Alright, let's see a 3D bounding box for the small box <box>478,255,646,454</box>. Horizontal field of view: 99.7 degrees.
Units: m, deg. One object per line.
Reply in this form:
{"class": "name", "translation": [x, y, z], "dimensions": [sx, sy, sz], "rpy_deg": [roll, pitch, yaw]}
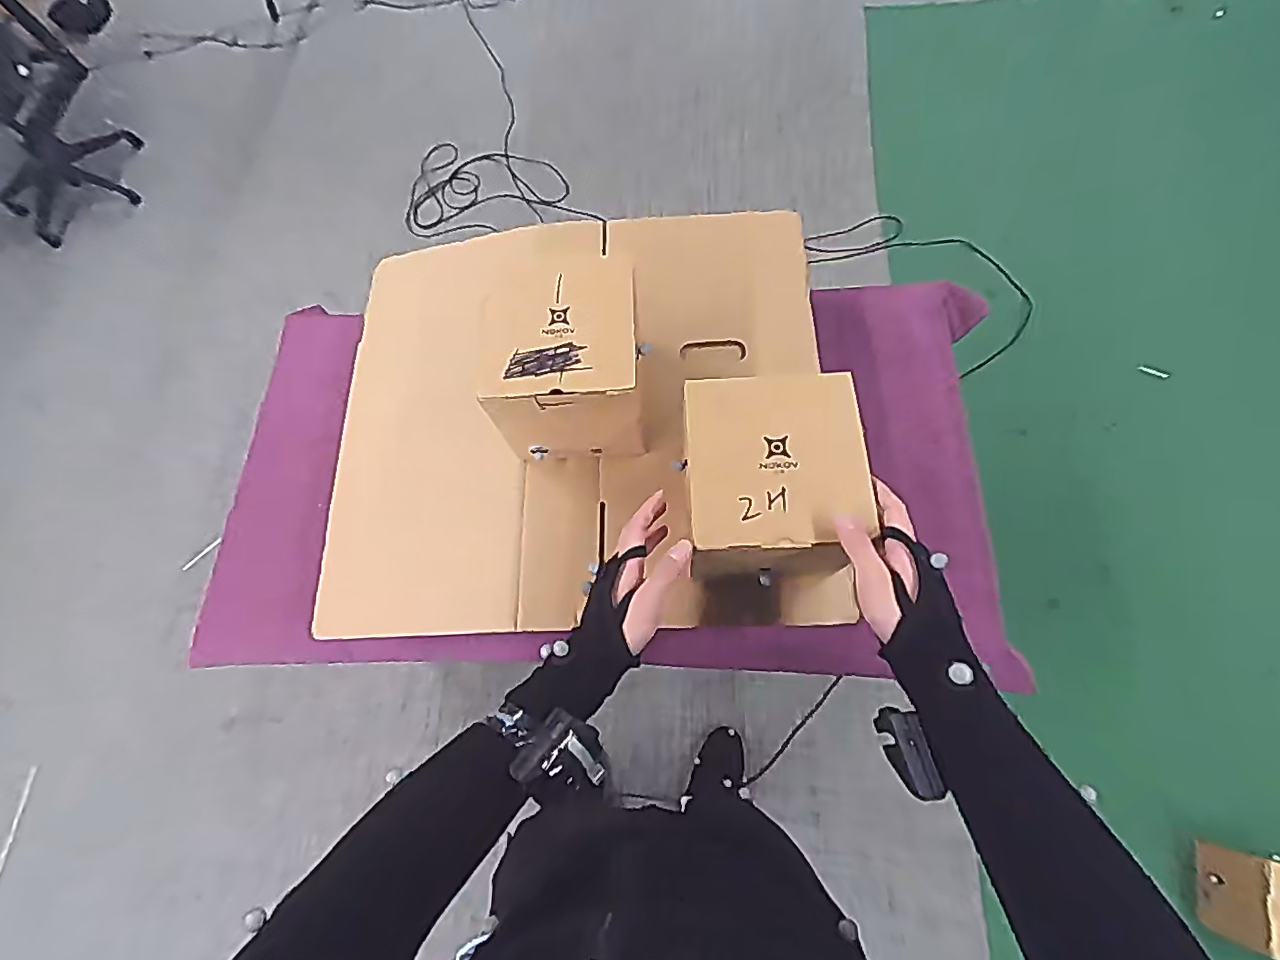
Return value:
{"class": "small box", "translation": [-0.080, -0.136, 0.646], "dimensions": [0.168, 0.176, 0.179], "rpy_deg": [-2, 69, 3]}

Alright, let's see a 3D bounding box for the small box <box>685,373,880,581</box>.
{"class": "small box", "translation": [0.133, 0.006, 0.578], "dimensions": [0.168, 0.176, 0.179], "rpy_deg": [-2, 69, 4]}

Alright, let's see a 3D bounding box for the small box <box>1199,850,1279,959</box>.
{"class": "small box", "translation": [1.283, 0.872, 1.075], "dimensions": [0.179, 0.176, 0.168], "rpy_deg": [14, 72, 13]}
